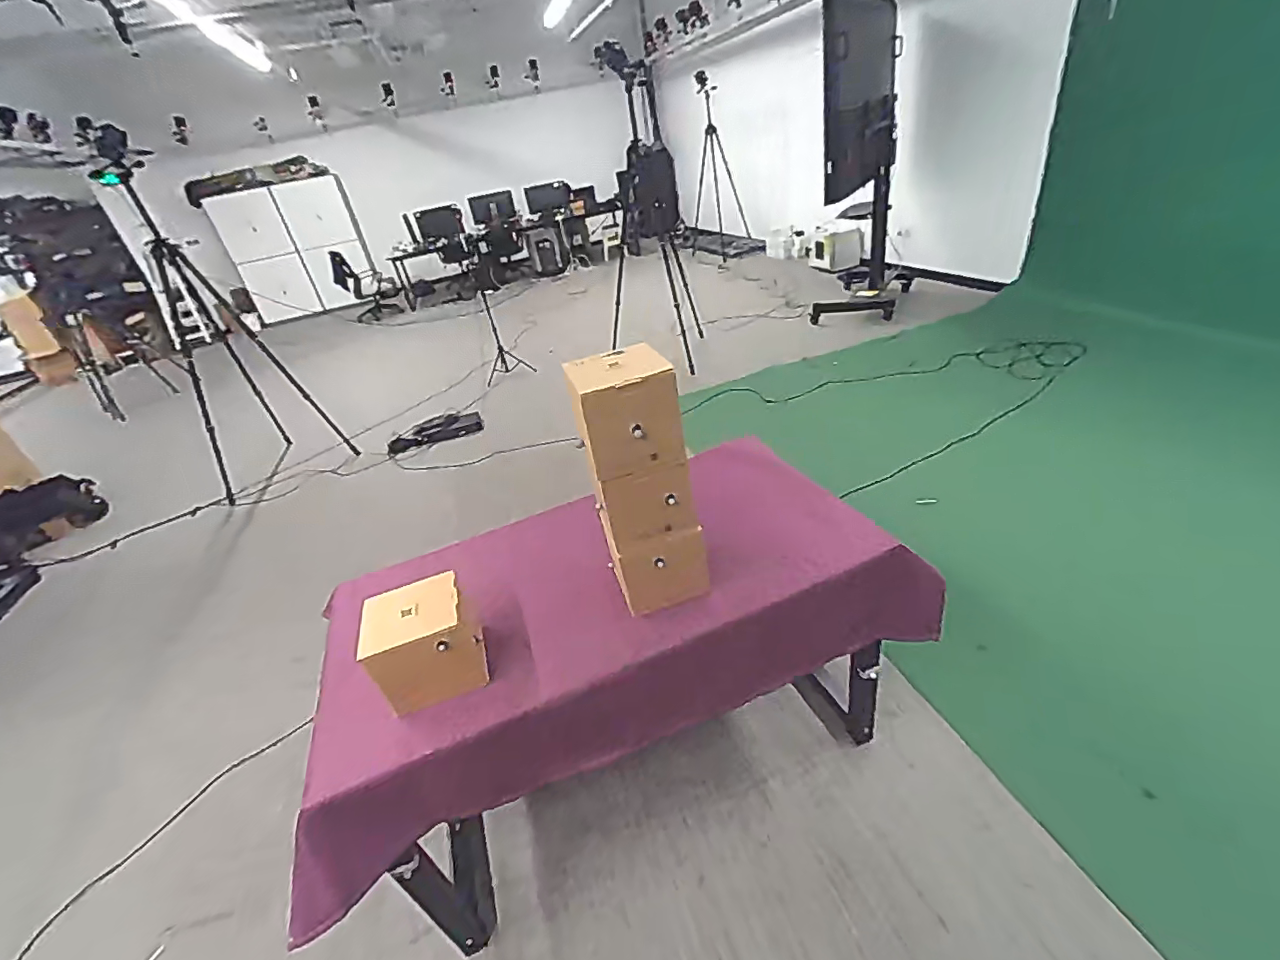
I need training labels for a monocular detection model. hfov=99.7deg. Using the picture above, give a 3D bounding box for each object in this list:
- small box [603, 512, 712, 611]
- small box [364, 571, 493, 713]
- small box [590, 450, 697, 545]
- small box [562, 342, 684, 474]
[{"bbox_3d":[0.037,0.148,1.142,0.179,0.176,0.168,-17,33,-7],"label":"small box"},{"bbox_3d":[-0.401,0.312,1.044,0.179,0.176,0.168,-19,32,-11],"label":"small box"},{"bbox_3d":[0.004,0.009,1.064,0.168,0.176,0.179,-17,31,-8],"label":"small box"},{"bbox_3d":[-0.030,-0.127,0.977,0.168,0.176,0.179,-17,33,-9],"label":"small box"}]
